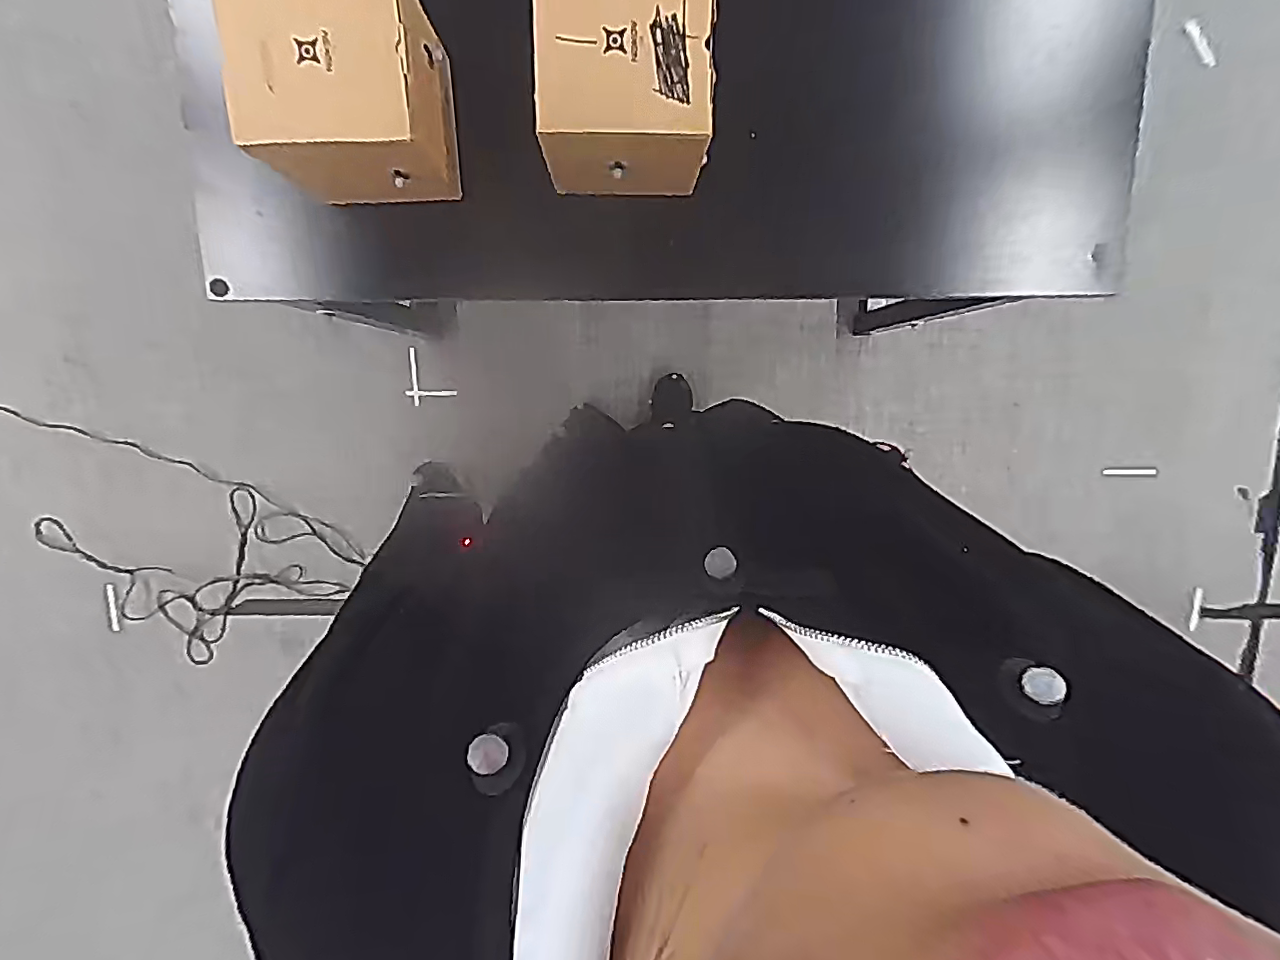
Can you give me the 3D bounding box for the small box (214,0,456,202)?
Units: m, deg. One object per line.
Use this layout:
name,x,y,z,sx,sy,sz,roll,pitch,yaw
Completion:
small box,-0.313,-0.424,0.595,0.179,0.176,0.168,-3,99,0

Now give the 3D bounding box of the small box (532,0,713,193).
small box,-0.019,-0.437,0.601,0.179,0.176,0.168,0,99,-1
